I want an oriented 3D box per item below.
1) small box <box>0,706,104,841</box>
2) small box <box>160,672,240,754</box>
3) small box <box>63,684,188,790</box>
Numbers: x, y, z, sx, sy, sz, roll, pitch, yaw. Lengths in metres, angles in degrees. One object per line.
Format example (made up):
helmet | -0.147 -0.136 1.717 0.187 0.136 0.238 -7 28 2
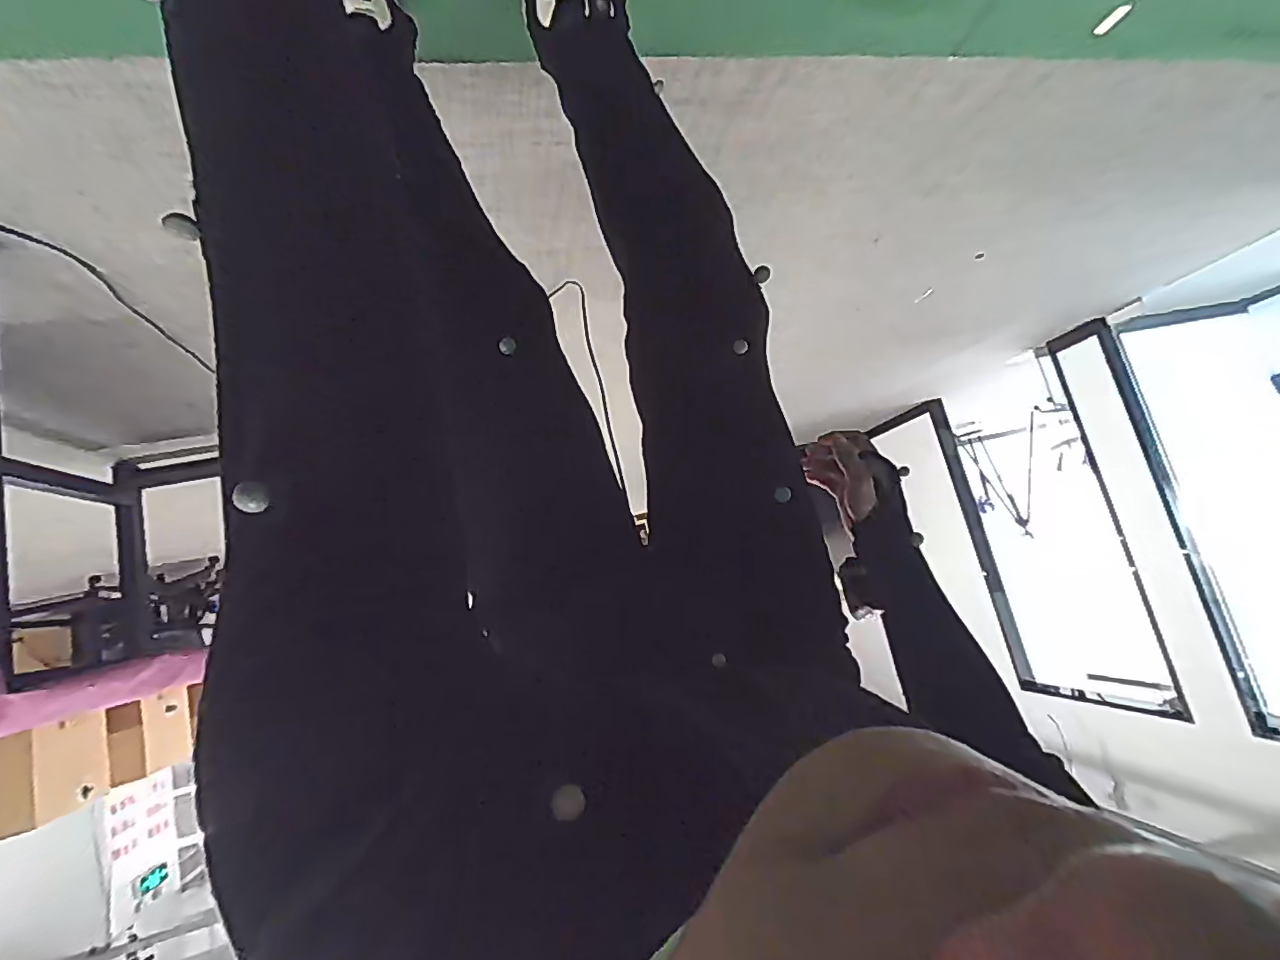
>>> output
small box | -1.051 0.491 0.898 0.179 0.176 0.168 -10 171 -15
small box | -1.146 0.592 1.358 0.179 0.176 0.168 -11 170 -14
small box | -1.097 0.542 1.133 0.179 0.176 0.168 -11 171 -15
